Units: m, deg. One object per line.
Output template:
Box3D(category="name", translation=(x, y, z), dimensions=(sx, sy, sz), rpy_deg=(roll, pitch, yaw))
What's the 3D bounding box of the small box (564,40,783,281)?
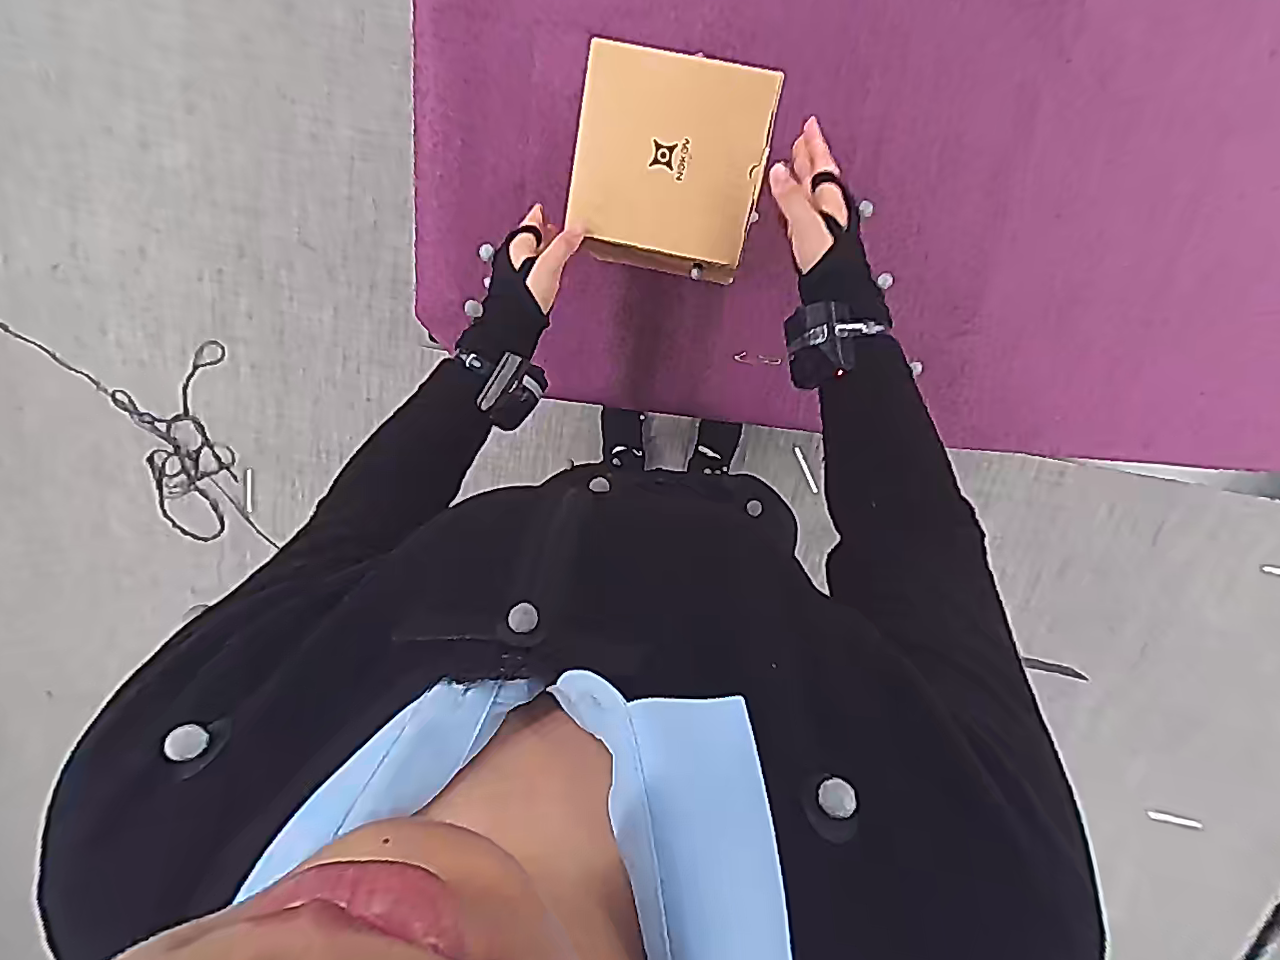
Box3D(category="small box", translation=(0.034, -0.316, 0.574), dimensions=(0.179, 0.176, 0.168), rpy_deg=(12, 105, 2))
